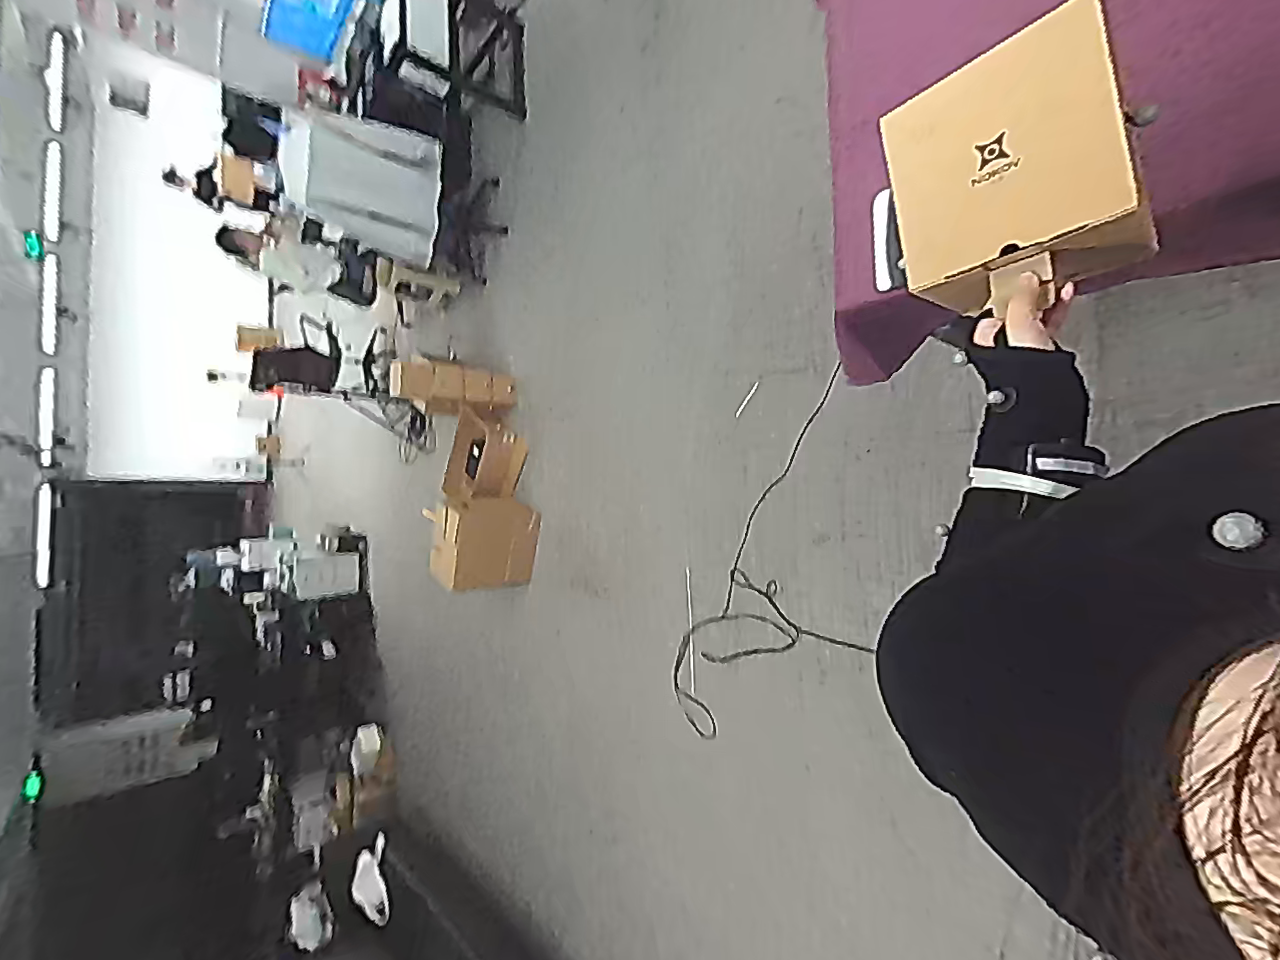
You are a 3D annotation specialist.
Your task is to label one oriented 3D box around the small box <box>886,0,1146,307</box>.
[{"bbox_3d":[0.359,-0.284,0.517,0.168,0.176,0.179,-10,89,45],"label":"small box"}]
